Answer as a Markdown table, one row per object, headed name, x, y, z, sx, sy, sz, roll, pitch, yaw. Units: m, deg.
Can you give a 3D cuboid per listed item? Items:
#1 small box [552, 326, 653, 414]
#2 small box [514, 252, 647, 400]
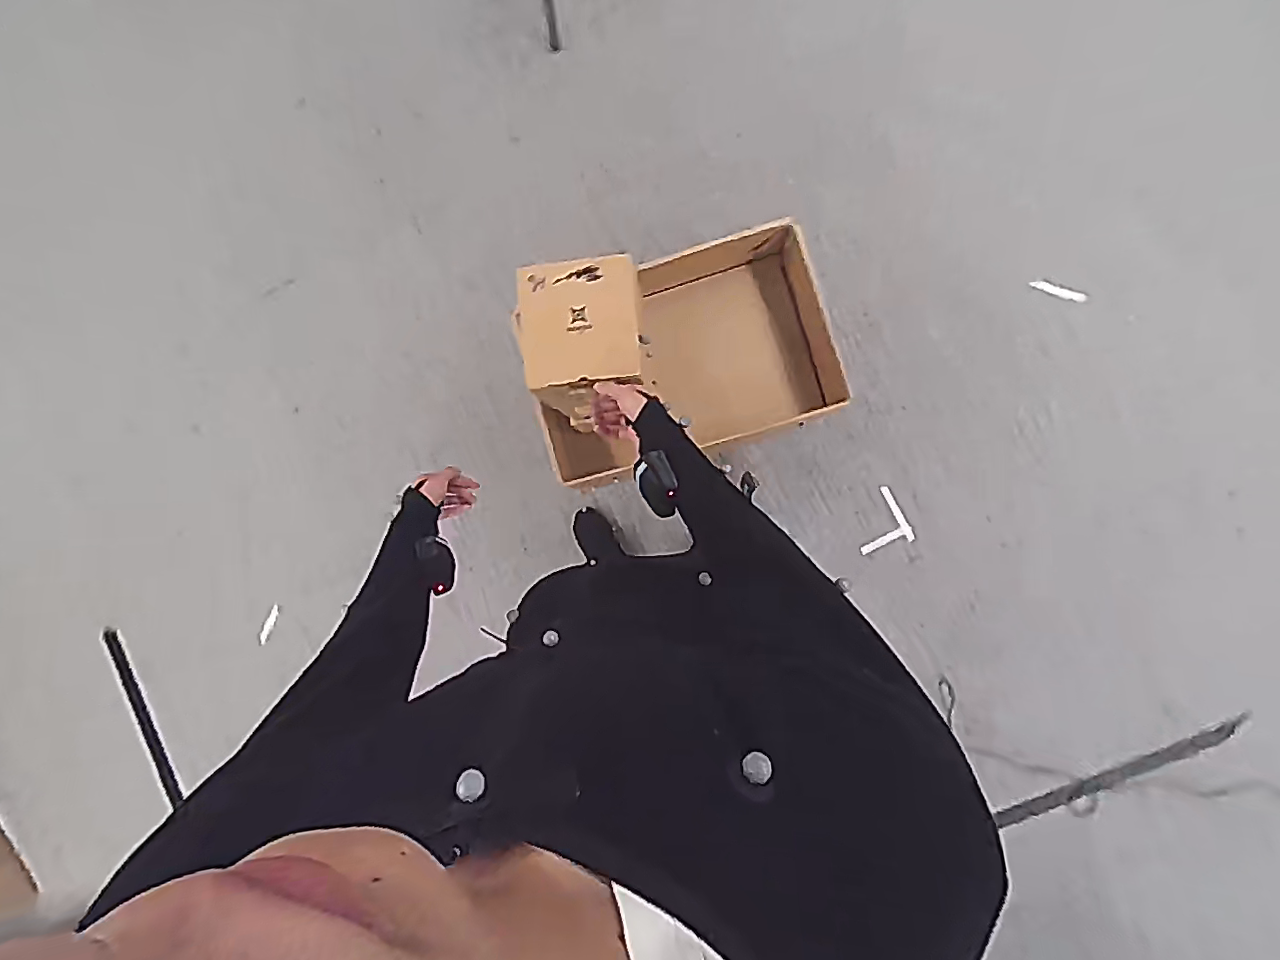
| name | x | y | z | sx | sy | sz | roll | pitch | yaw |
| --- | --- | --- | --- | --- | --- | --- | --- | --- | --- |
| small box | -0.072 | -0.222 | 0.991 | 0.168 | 0.176 | 0.179 | -9 | 87 | 4 |
| small box | -0.082 | -0.221 | 0.827 | 0.168 | 0.176 | 0.179 | -5 | 89 | 5 |
